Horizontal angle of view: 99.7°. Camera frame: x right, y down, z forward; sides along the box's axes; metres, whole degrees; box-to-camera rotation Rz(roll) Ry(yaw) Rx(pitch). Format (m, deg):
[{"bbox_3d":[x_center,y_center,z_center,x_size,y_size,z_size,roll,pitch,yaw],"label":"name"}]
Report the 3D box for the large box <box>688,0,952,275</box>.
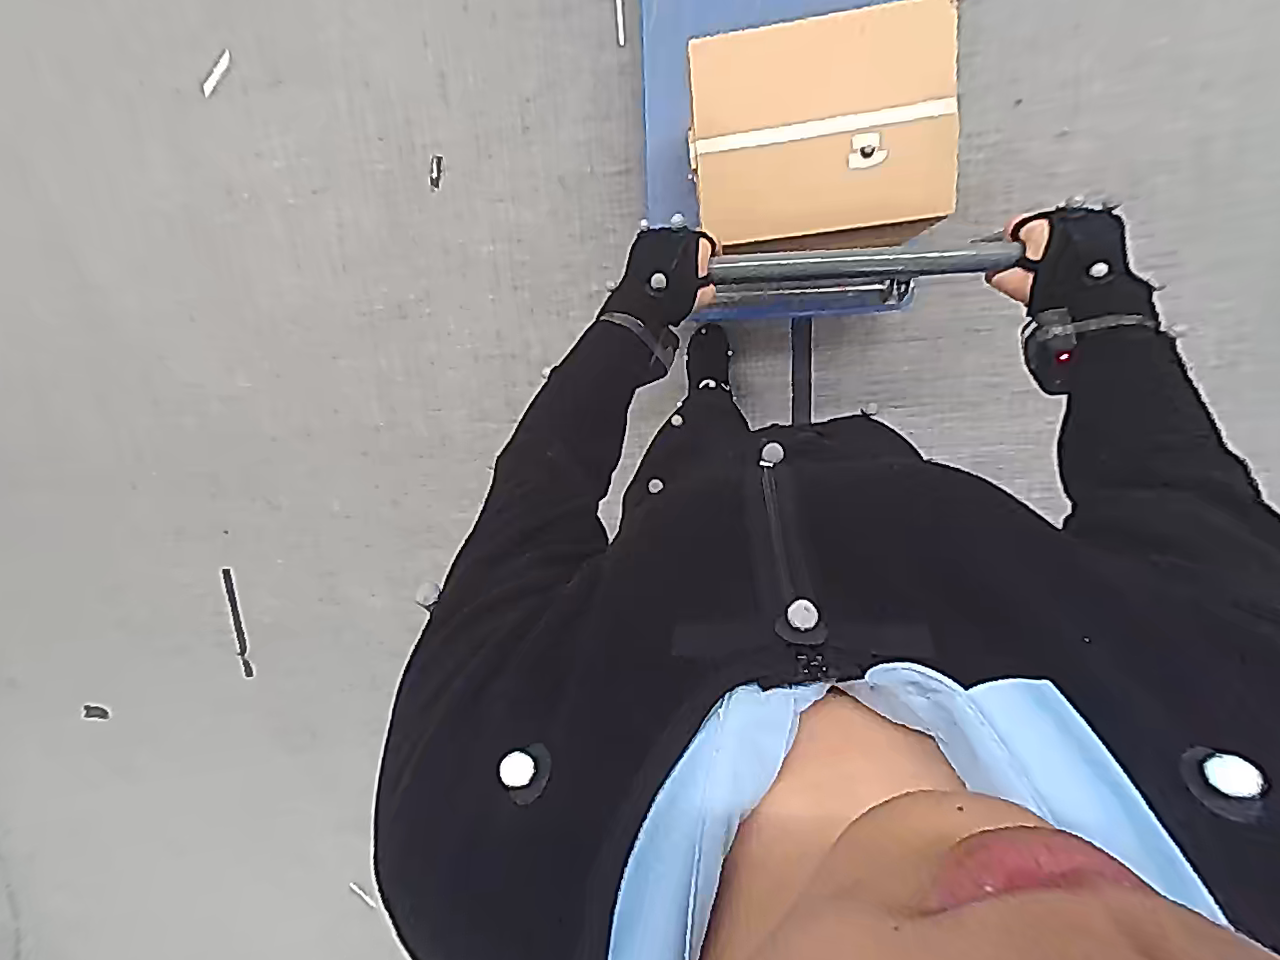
[{"bbox_3d":[0.305,-0.595,1.016,0.408,0.320,0.320,-5,103,7],"label":"large box"}]
